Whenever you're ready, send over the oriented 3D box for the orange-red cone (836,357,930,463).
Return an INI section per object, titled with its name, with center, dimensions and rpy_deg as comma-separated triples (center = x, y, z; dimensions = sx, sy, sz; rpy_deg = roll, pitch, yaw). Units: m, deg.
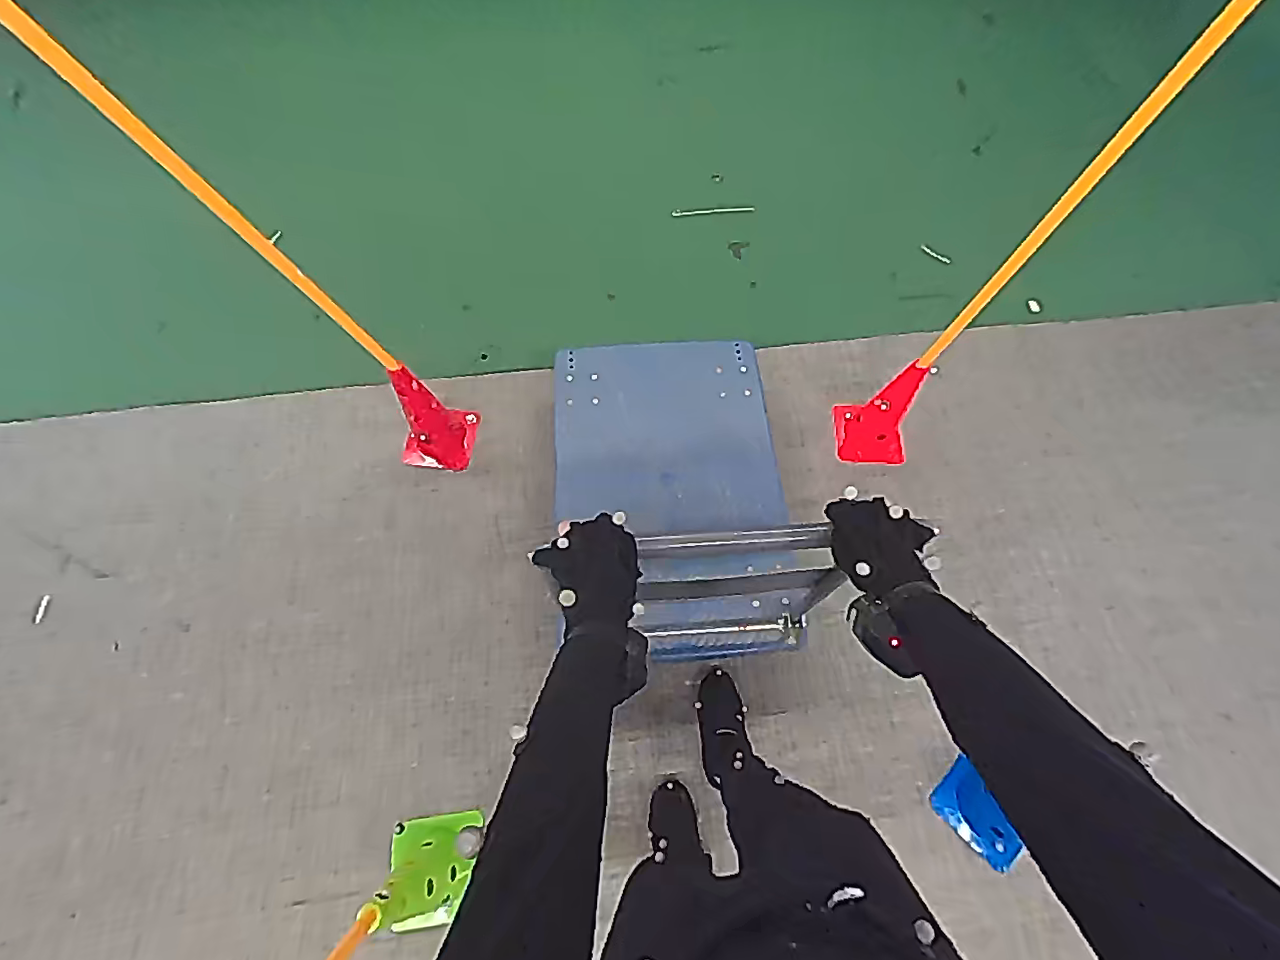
[orange-red cone]
center = 0.694, -0.213, 1.482
dimensions = 0.198, 0.360, 0.199
rpy_deg = 4, 66, 2
